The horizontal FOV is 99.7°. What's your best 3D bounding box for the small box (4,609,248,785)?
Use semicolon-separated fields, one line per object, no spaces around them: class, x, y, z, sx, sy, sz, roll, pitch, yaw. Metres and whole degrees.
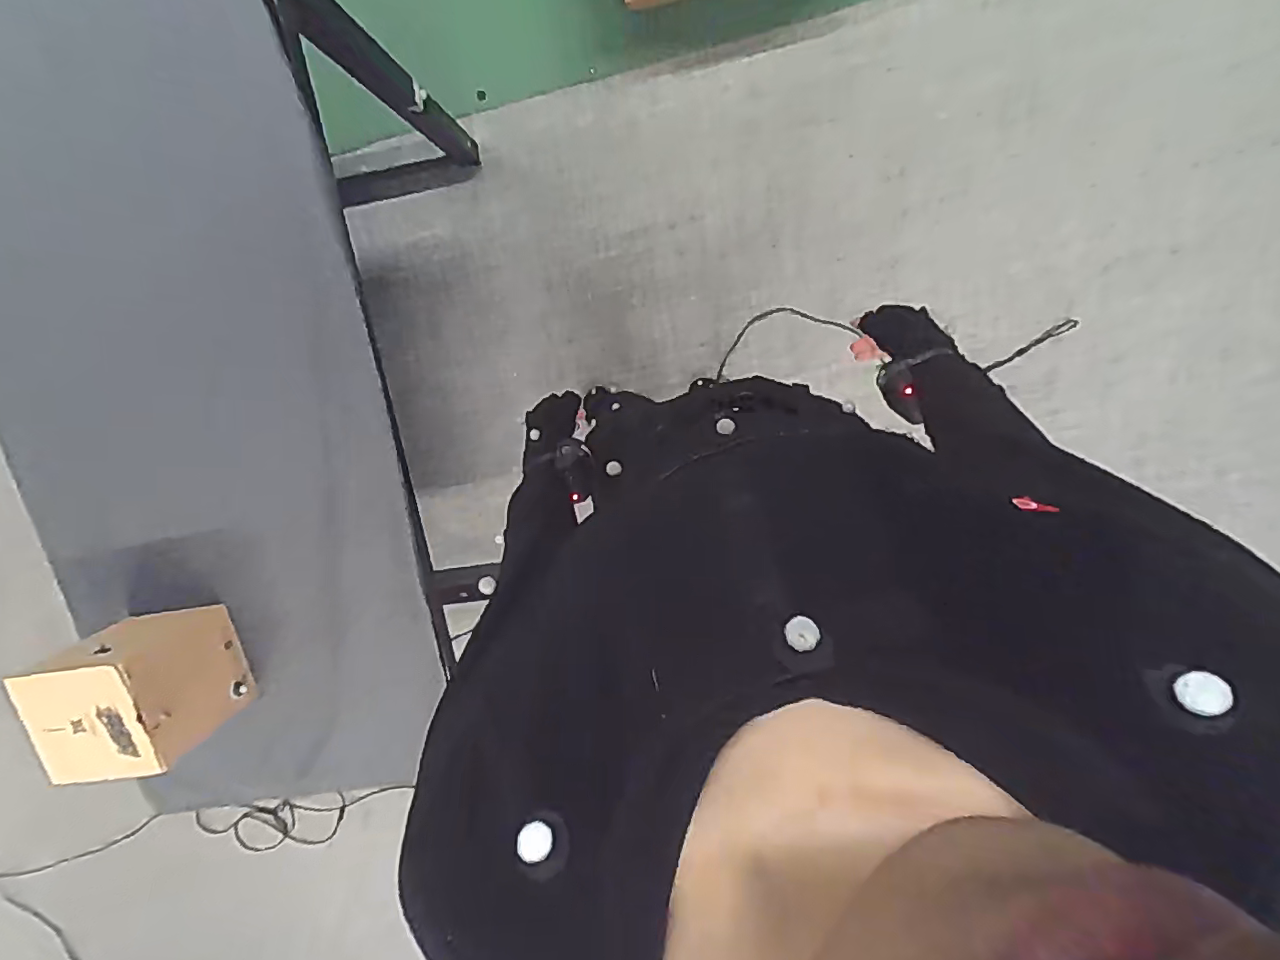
small box;-0.714;0.302;0.780;0.179;0.176;0.168;-9;102;7
